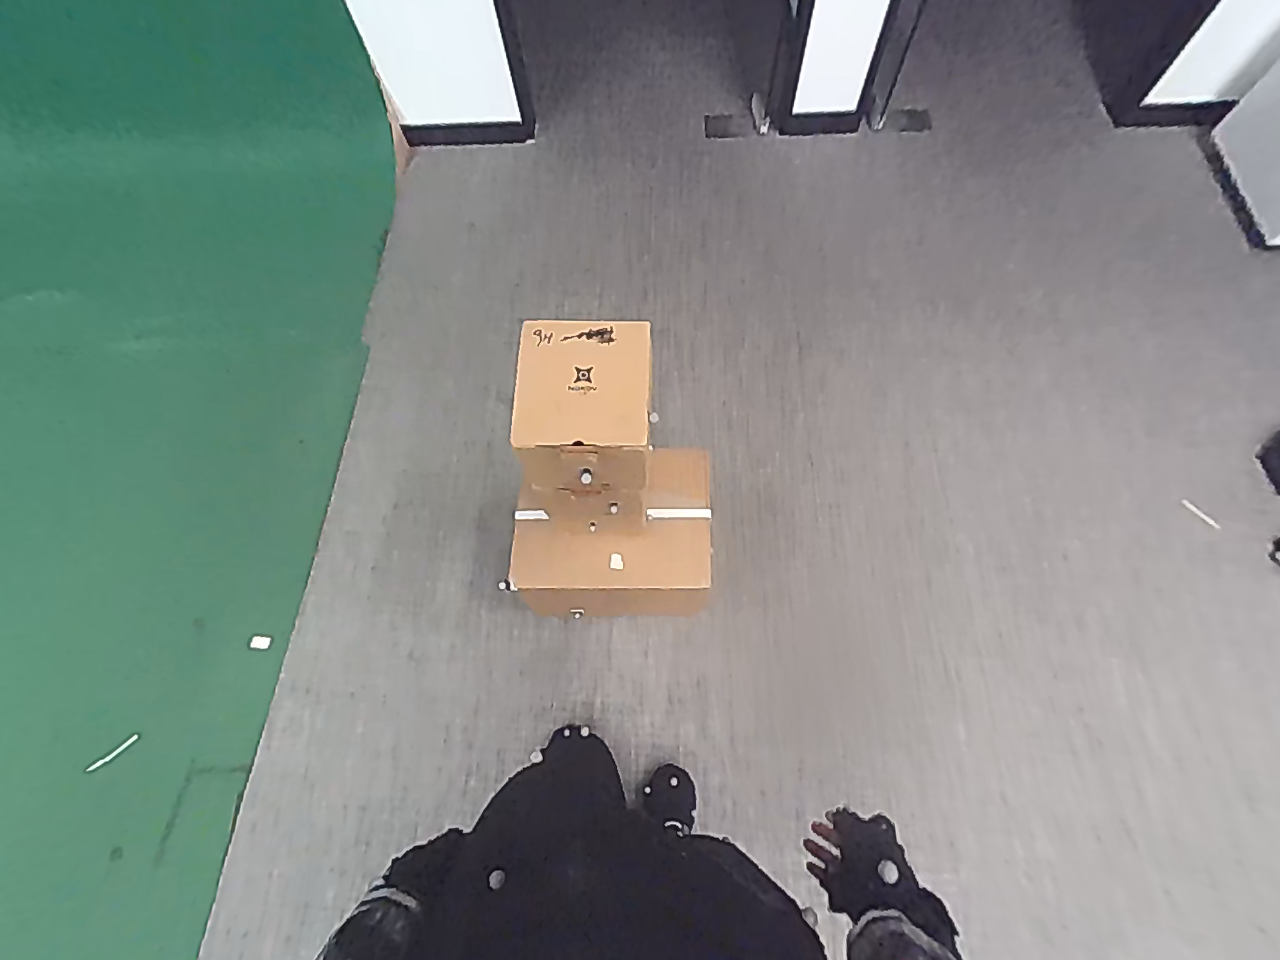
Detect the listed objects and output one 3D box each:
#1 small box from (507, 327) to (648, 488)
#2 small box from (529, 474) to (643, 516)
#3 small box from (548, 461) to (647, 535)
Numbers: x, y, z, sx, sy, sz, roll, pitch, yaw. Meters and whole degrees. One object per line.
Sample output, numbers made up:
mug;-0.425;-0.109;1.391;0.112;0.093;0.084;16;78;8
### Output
small box;-0.075;-0.091;0.748;0.168;0.176;0.179;1;73;2
small box;-0.080;-0.040;0.903;0.168;0.176;0.179;0;72;2
small box;-0.075;0.010;1.057;0.179;0.176;0.168;-1;73;2
